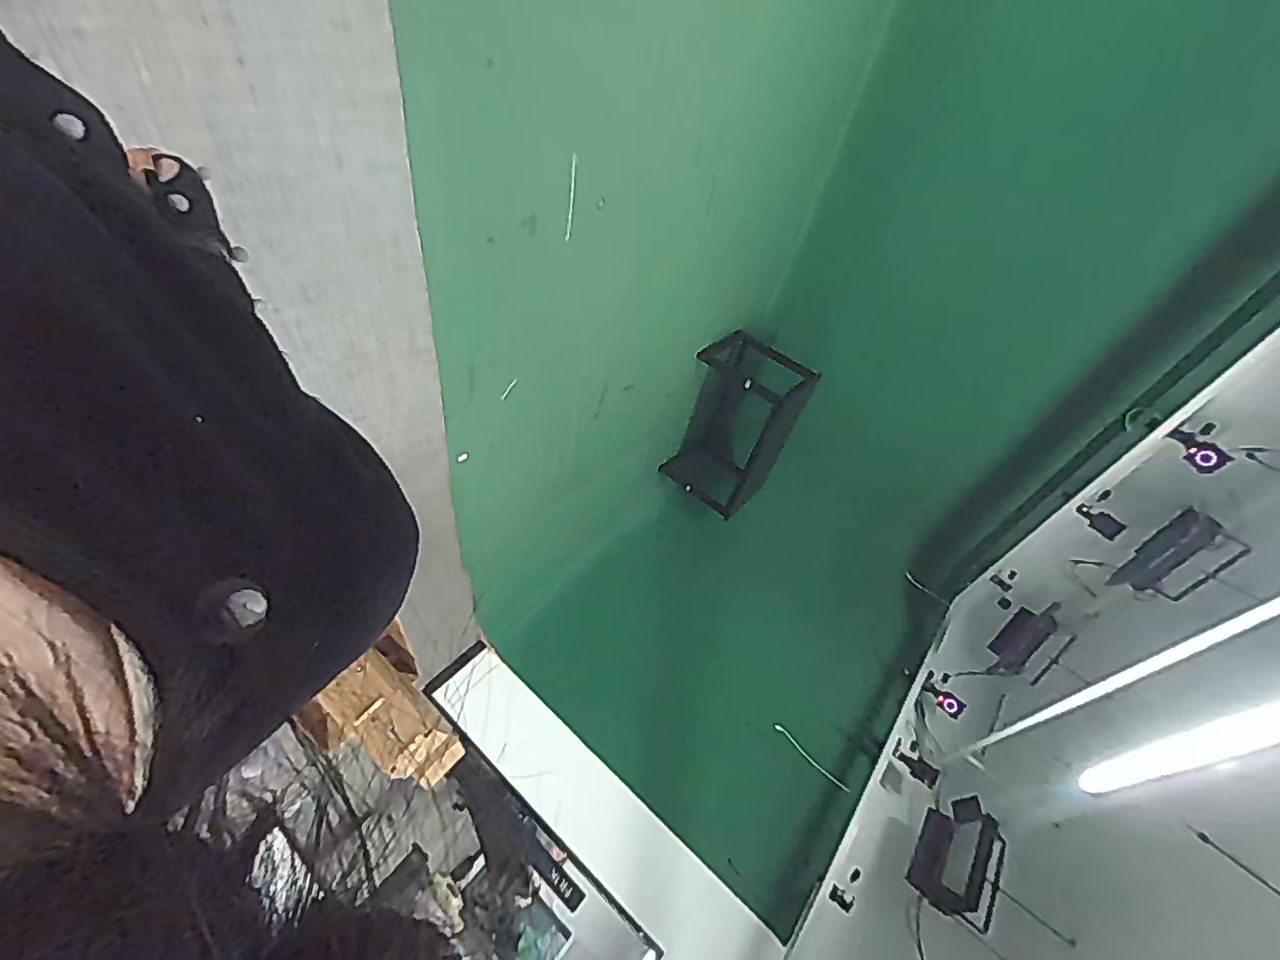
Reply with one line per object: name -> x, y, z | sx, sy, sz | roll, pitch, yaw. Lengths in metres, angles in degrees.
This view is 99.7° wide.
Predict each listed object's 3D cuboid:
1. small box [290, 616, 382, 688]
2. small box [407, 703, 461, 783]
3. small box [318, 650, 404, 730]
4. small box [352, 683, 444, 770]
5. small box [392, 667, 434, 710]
small box -> -0.992, 0.572, 1.762 | 0.168, 0.176, 0.179 | -44, 159, -23
small box -> -0.755, 0.911, 1.883 | 0.168, 0.176, 0.179 | -42, 157, -33
small box -> -0.870, 0.664, 1.705 | 0.168, 0.176, 0.179 | -44, 159, -22
small box -> -0.739, 0.750, 1.654 | 0.168, 0.176, 0.179 | -42, 157, -24
small box -> -0.875, 0.809, 1.934 | 0.179, 0.176, 0.168 | -42, 157, -31
